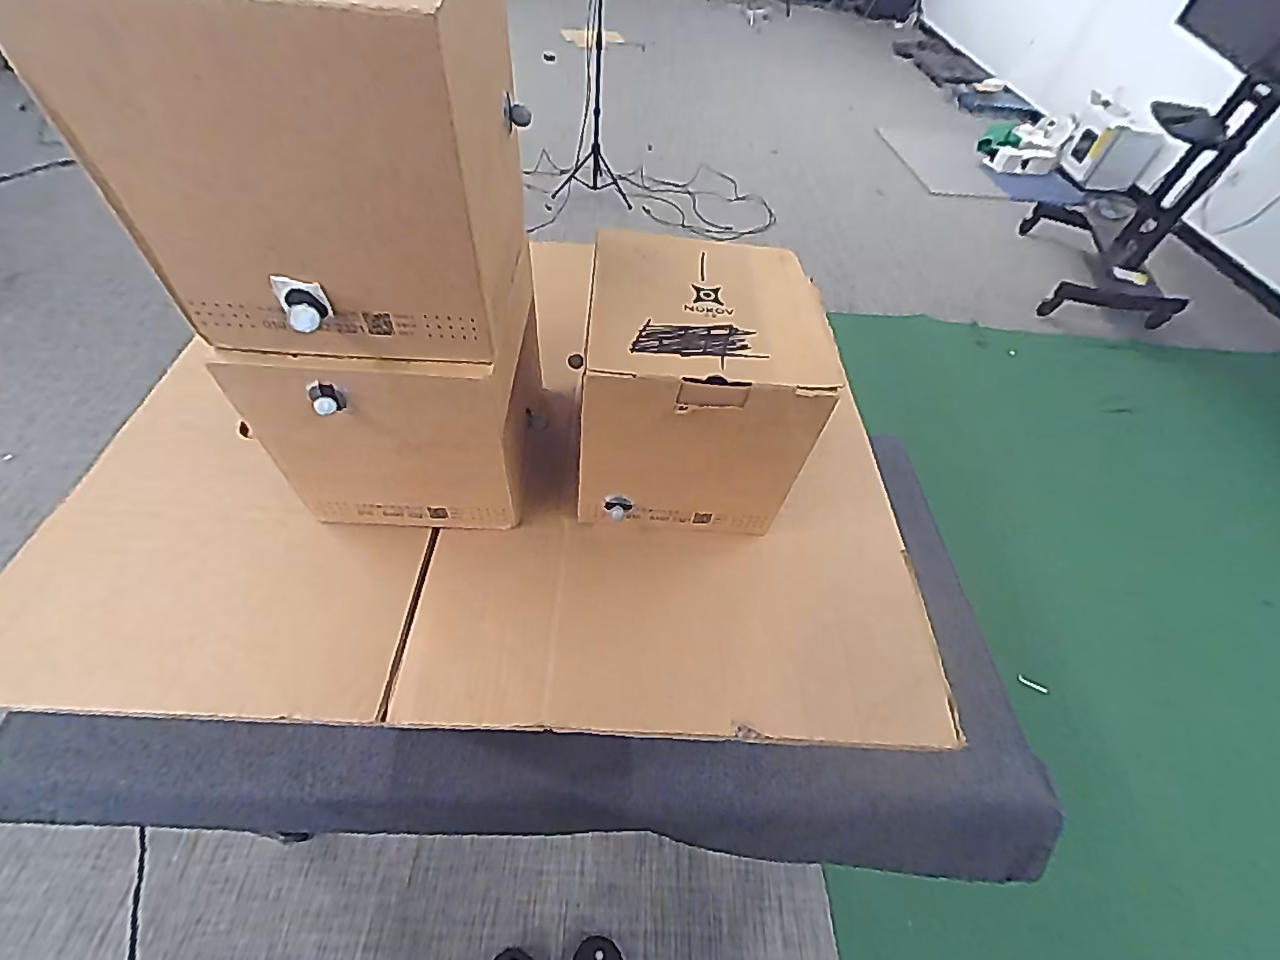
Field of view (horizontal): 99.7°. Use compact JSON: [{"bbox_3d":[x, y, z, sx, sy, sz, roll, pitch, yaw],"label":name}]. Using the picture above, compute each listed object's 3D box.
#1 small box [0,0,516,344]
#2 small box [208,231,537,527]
[{"bbox_3d":[-0.165,-0.199,0.299,0.168,0.176,0.179,1,54,-5],"label":"small box"},{"bbox_3d":[-0.178,-0.083,0.434,0.168,0.176,0.179,2,51,-2],"label":"small box"}]
